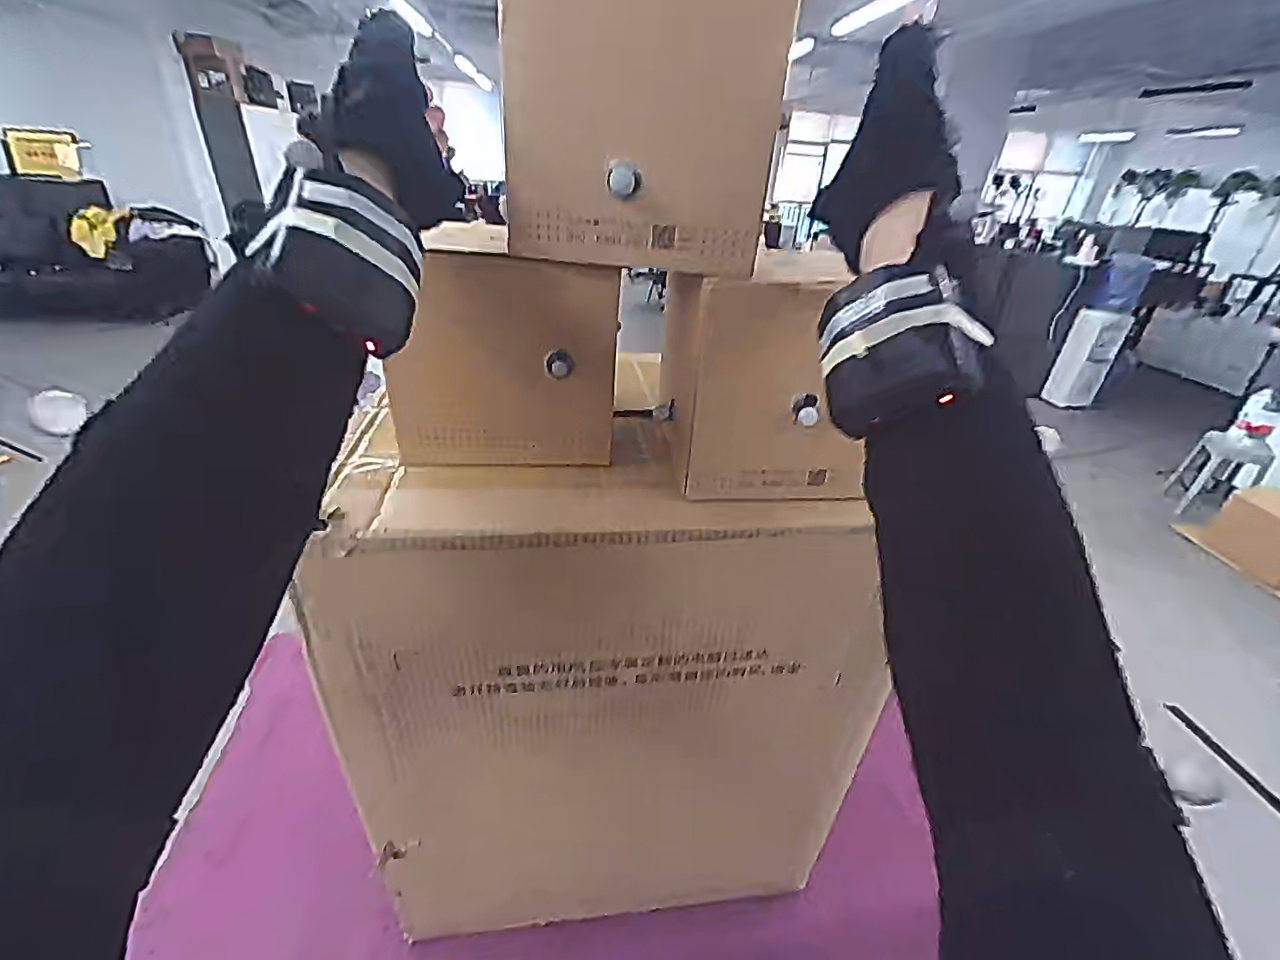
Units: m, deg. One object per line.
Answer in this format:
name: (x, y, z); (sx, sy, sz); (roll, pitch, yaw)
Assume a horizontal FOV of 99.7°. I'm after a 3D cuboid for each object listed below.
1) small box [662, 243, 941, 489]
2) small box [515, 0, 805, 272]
small box: (0.113, -0.103, 0.465); (0.168, 0.176, 0.179); (0, 30, -6)
small box: (0.010, -0.256, 0.392); (0.168, 0.176, 0.179); (6, 30, 3)
